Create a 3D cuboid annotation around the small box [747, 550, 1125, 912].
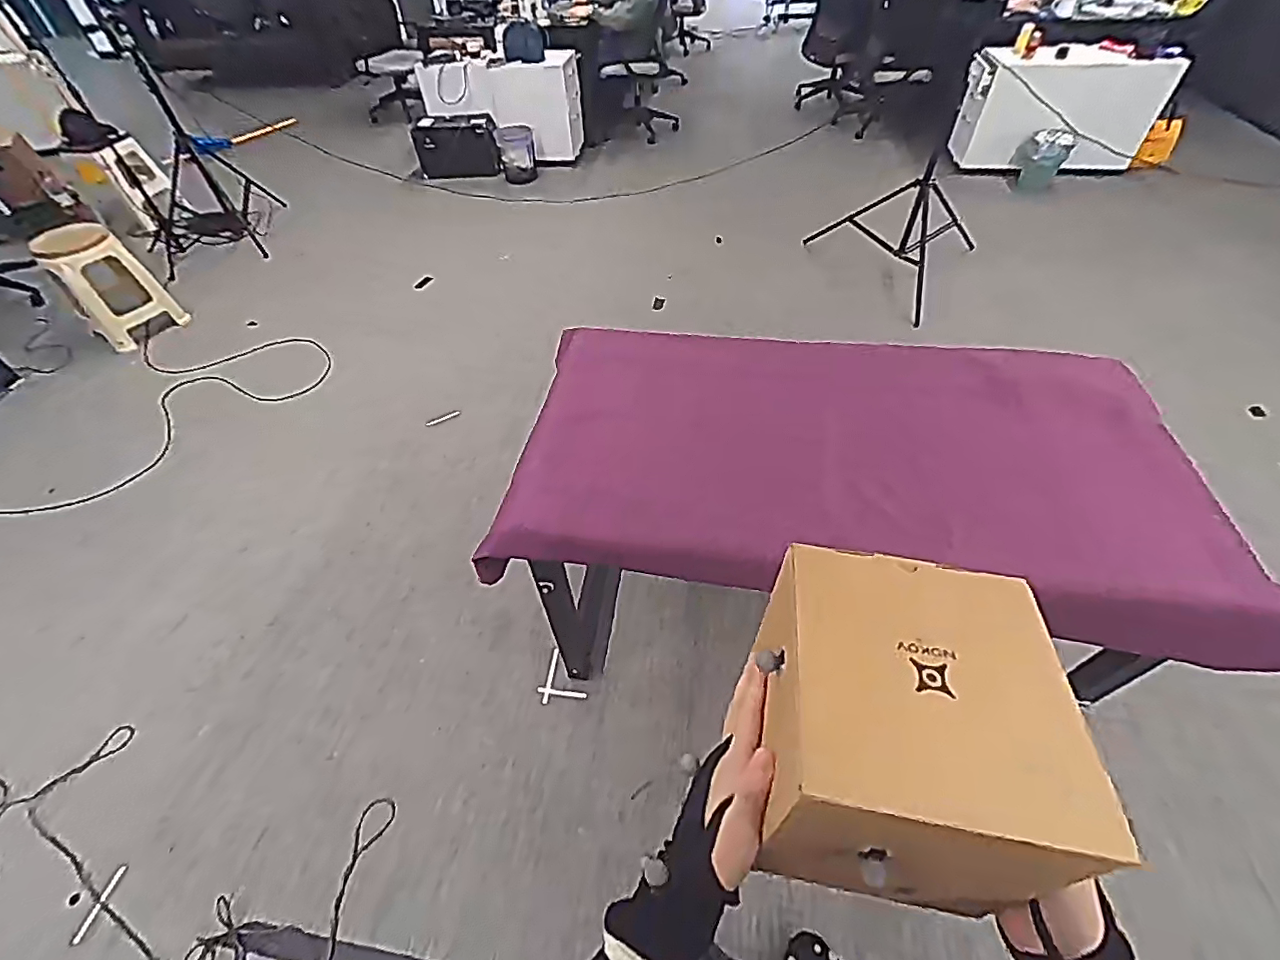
[{"bbox_3d":[0.175,0.180,0.392,0.168,0.176,0.179,9,43,6],"label":"small box"}]
